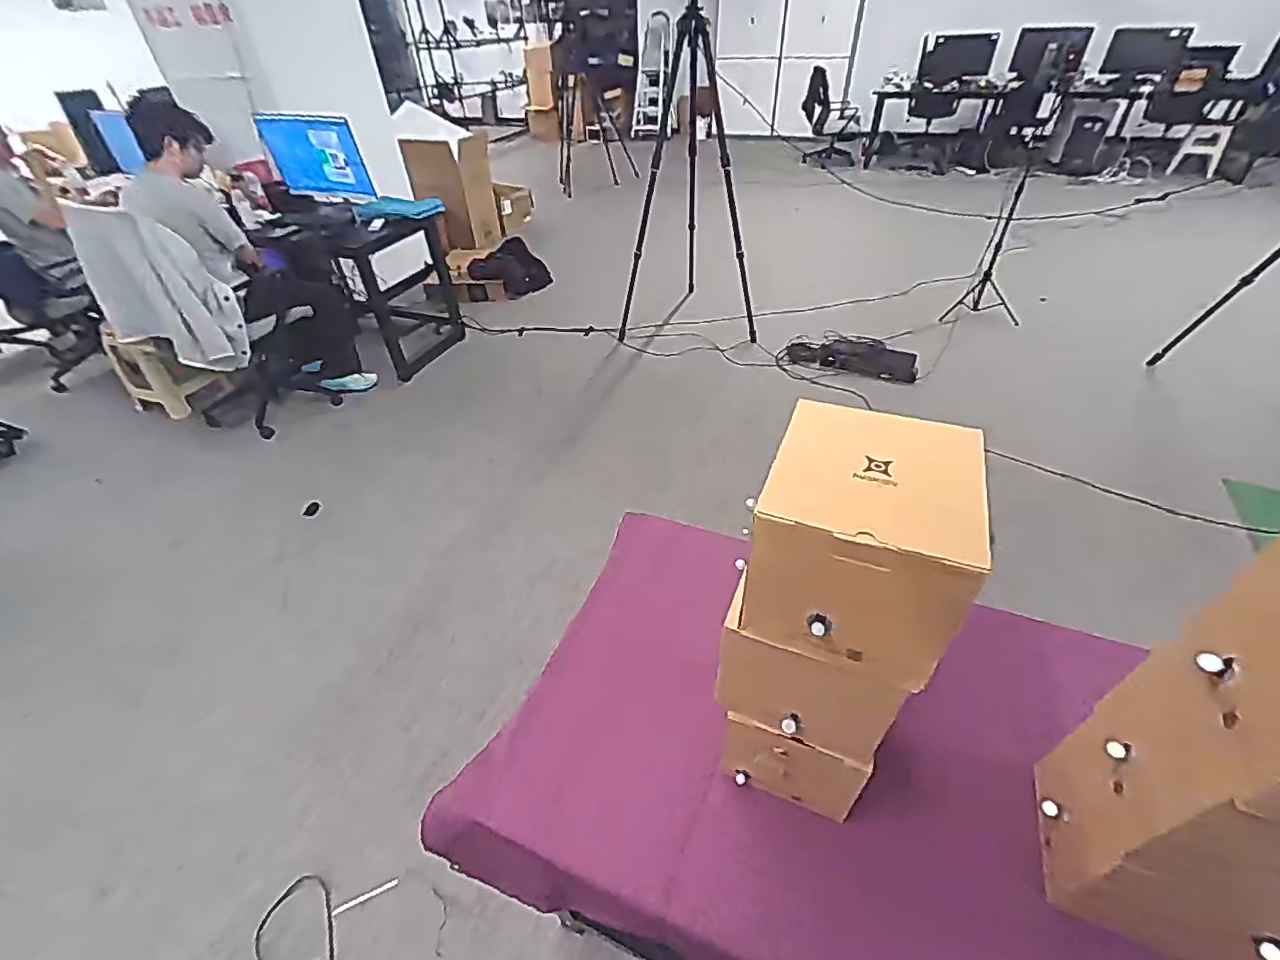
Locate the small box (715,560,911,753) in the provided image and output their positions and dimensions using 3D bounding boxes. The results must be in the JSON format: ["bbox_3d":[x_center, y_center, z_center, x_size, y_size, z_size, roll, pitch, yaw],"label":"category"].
[{"bbox_3d":[0.196,0.178,0.614,0.179,0.176,0.168,16,44,19],"label":"small box"}]

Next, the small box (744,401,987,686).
[{"bbox_3d":[0.201,0.054,0.507,0.168,0.176,0.179,14,44,19],"label":"small box"}]

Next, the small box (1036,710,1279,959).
[{"bbox_3d":[0.574,0.393,0.591,0.179,0.176,0.168,15,44,19],"label":"small box"}]

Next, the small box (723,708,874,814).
[{"bbox_3d":[0.213,0.304,0.719,0.168,0.176,0.179,14,43,18],"label":"small box"}]
